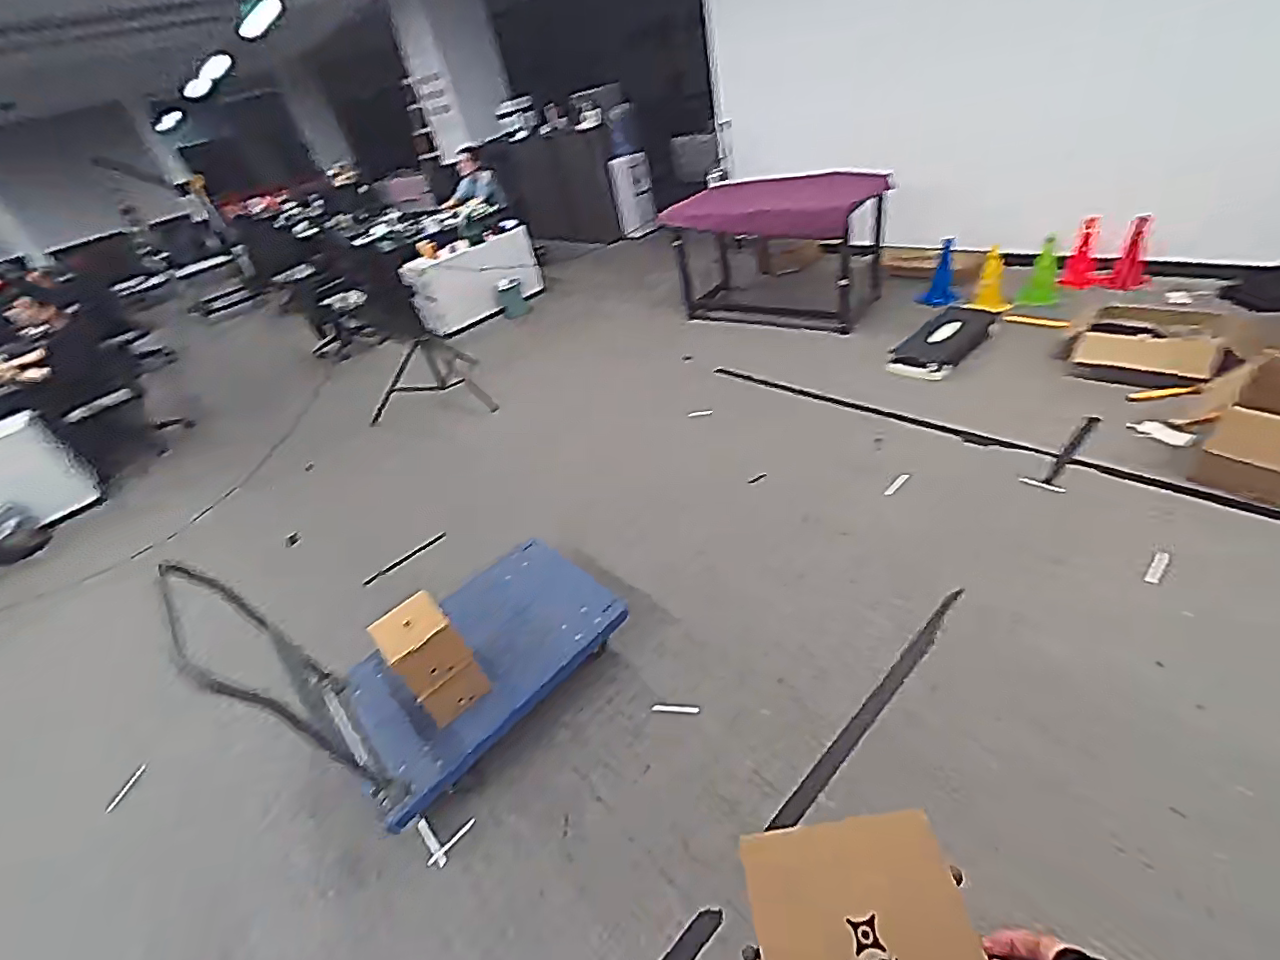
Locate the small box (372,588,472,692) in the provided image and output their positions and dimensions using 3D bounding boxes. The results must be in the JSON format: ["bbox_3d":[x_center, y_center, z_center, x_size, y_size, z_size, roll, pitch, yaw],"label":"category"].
[{"bbox_3d":[-0.588,0.435,1.467,0.168,0.176,0.179,-36,43,-26],"label":"small box"}]

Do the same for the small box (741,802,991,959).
[{"bbox_3d":[0.189,0.410,0.465,0.168,0.176,0.179,-13,43,4],"label":"small box"}]
